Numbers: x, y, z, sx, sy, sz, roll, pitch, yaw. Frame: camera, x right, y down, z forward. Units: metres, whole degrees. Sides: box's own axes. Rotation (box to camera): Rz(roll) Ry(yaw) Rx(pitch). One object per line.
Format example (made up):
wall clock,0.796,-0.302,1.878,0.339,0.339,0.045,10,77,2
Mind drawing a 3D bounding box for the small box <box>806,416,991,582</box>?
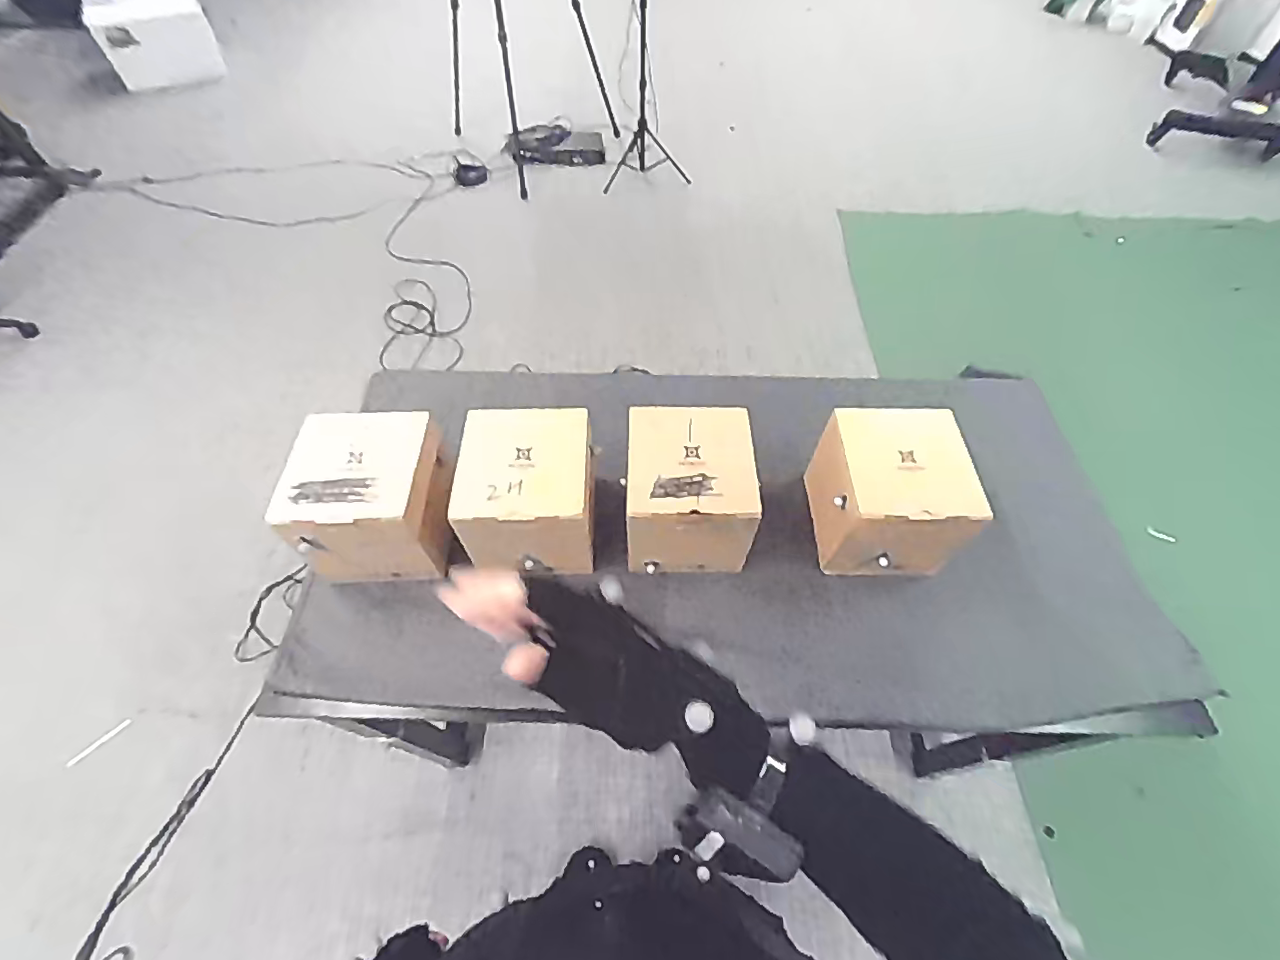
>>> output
small box,0.347,0.029,0.771,0.168,0.176,0.179,1,56,0
